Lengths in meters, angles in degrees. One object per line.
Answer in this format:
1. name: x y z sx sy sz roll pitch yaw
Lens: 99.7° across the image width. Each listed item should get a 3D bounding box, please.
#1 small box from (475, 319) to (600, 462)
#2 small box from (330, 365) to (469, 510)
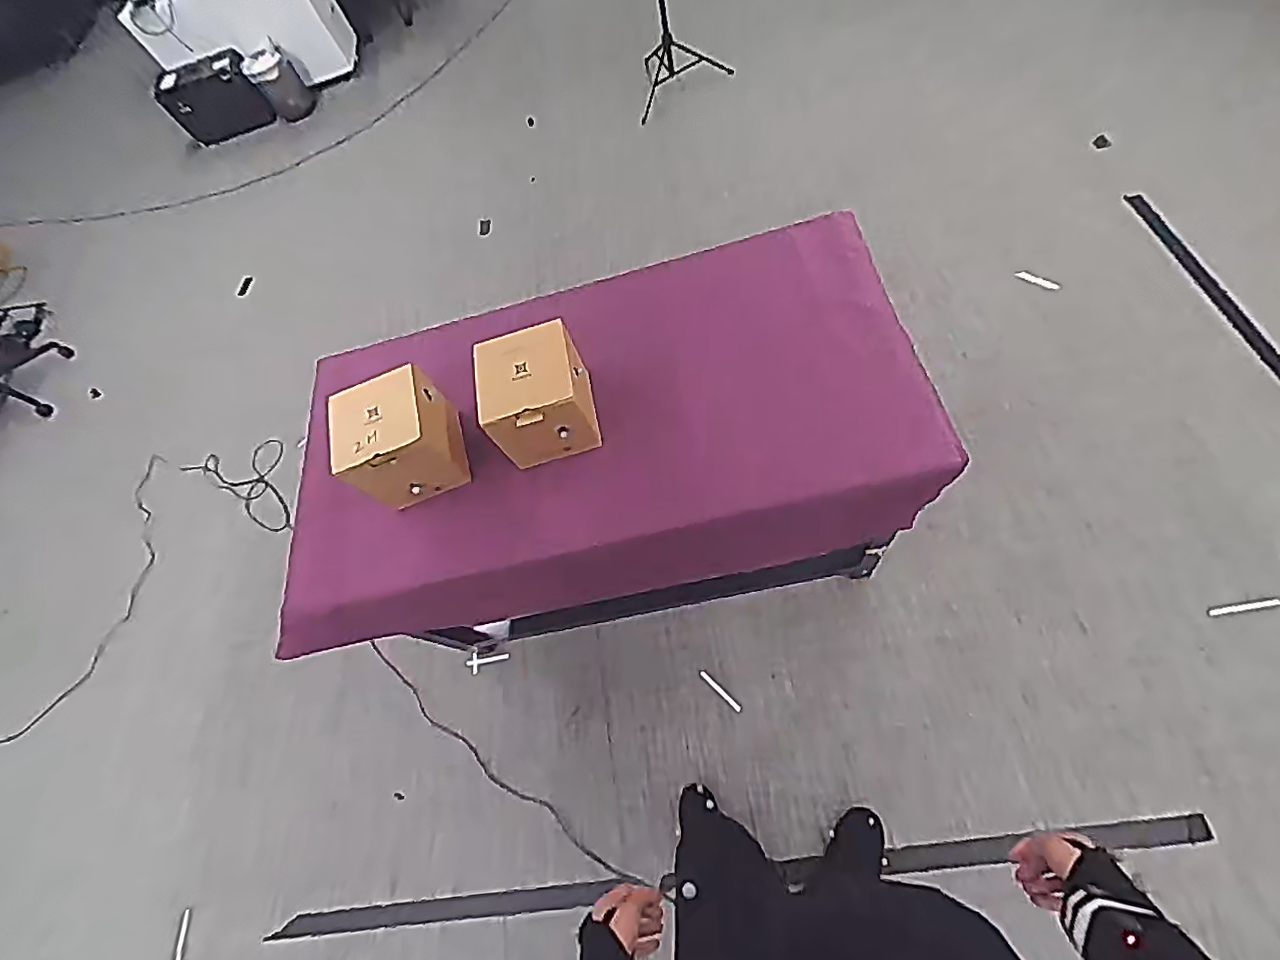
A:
1. small box: -0.180 -0.148 0.972 0.168 0.176 0.179 -15 62 6
2. small box: -0.438 -0.072 0.996 0.168 0.176 0.179 -22 62 3
